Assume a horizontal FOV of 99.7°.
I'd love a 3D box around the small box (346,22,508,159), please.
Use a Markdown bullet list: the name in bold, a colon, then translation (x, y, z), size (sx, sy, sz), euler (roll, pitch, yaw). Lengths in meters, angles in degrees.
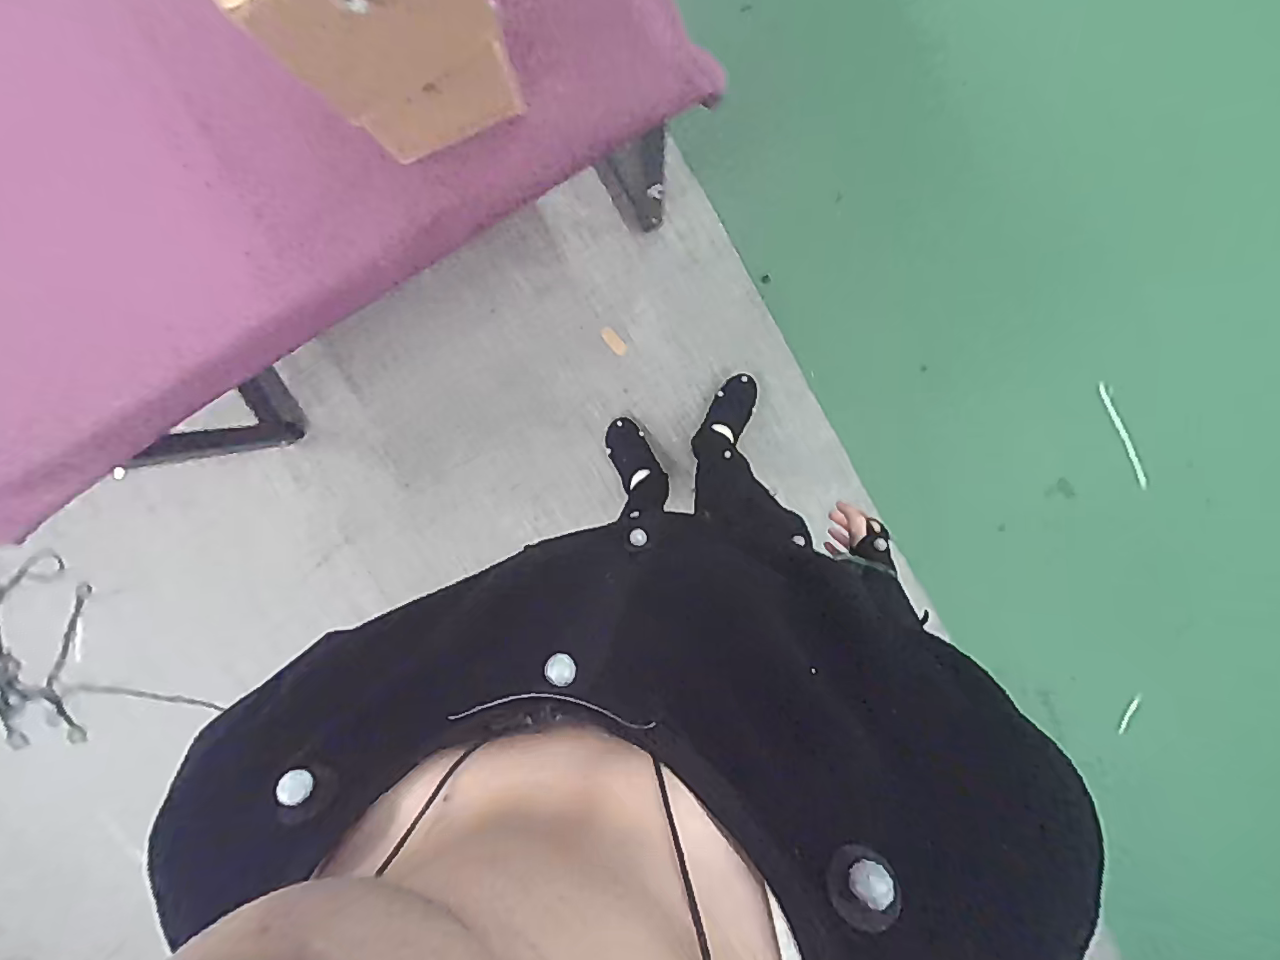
- **small box**: translation (-0.262, -0.497, 0.596), size (0.179, 0.176, 0.168), euler (-20, 97, 6)
